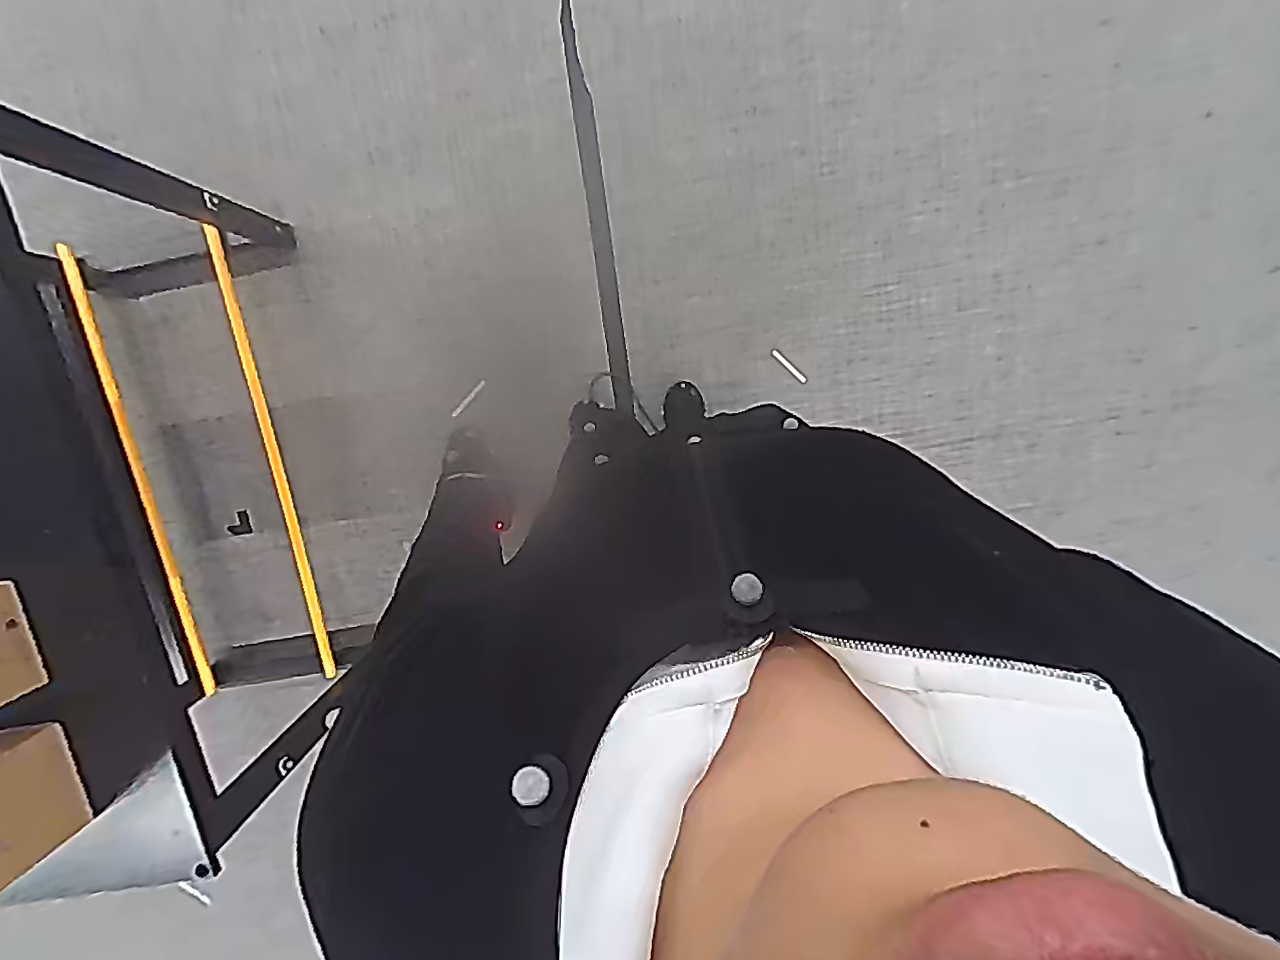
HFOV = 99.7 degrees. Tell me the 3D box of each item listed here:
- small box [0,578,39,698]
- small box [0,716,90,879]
[{"bbox_3d":[-0.987,0.243,0.729,0.179,0.176,0.168,-8,101,2],"label":"small box"},{"bbox_3d":[-0.958,0.470,0.771,0.168,0.176,0.179,-8,100,2],"label":"small box"}]
